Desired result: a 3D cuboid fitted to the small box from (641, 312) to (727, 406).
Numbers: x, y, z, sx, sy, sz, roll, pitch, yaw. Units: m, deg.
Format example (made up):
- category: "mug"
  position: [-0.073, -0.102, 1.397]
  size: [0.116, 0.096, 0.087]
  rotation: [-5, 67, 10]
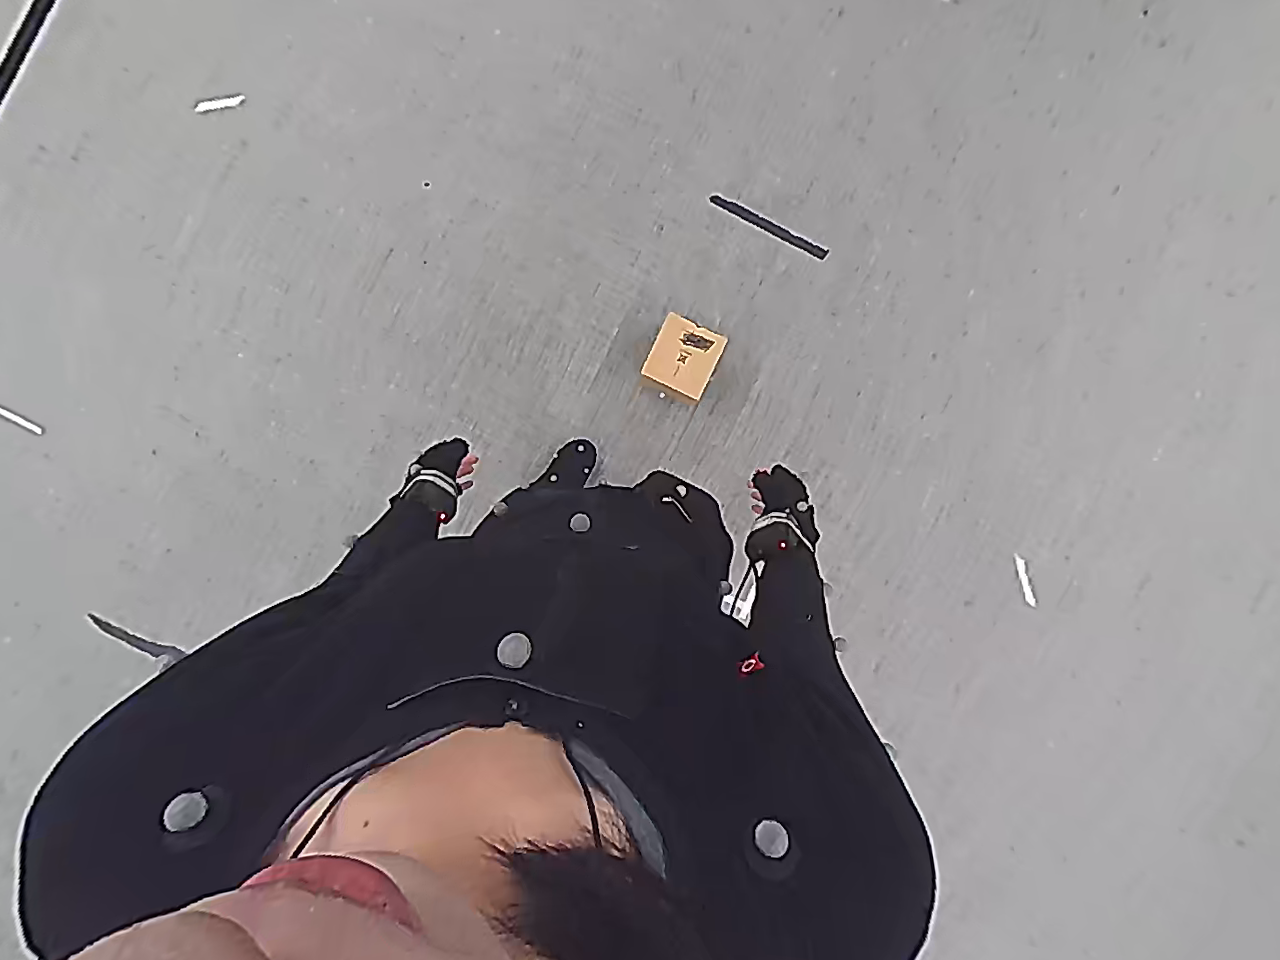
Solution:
- category: "small box"
  position: [0.106, -0.311, 1.430]
  size: [0.168, 0.176, 0.179]
  rotation: [26, 91, -2]
